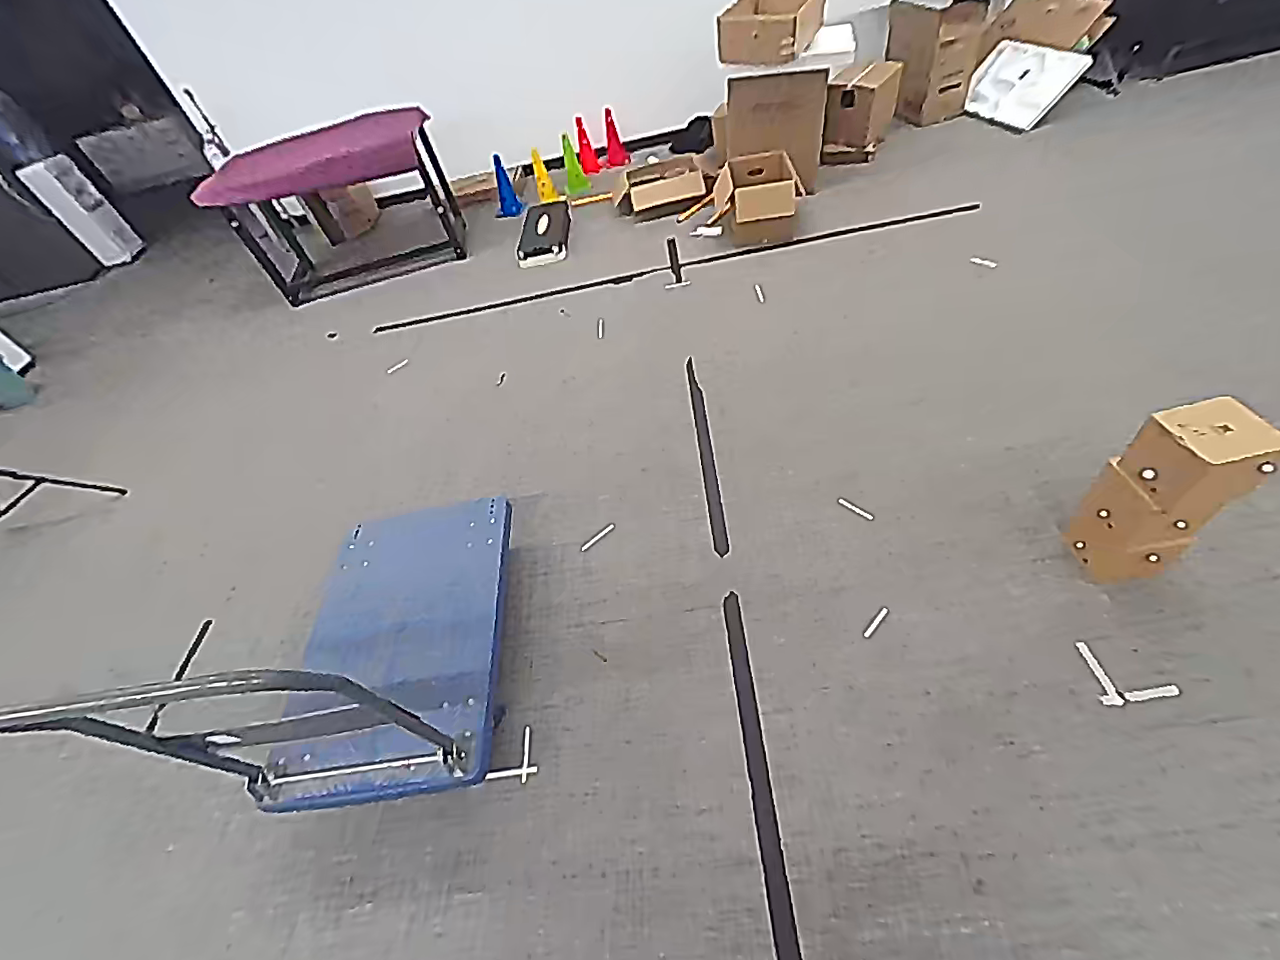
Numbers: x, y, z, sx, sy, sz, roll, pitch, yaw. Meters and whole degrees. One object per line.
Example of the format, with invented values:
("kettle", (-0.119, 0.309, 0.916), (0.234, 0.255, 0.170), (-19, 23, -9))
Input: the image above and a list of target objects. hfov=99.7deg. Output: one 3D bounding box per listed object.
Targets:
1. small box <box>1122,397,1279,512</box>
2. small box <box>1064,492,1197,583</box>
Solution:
("small box", (1.251, -0.054, 1.208), (0.179, 0.176, 0.168), (-14, 47, 3))
("small box", (1.304, 0.157, 1.456), (0.179, 0.176, 0.168), (-11, 48, 5))
